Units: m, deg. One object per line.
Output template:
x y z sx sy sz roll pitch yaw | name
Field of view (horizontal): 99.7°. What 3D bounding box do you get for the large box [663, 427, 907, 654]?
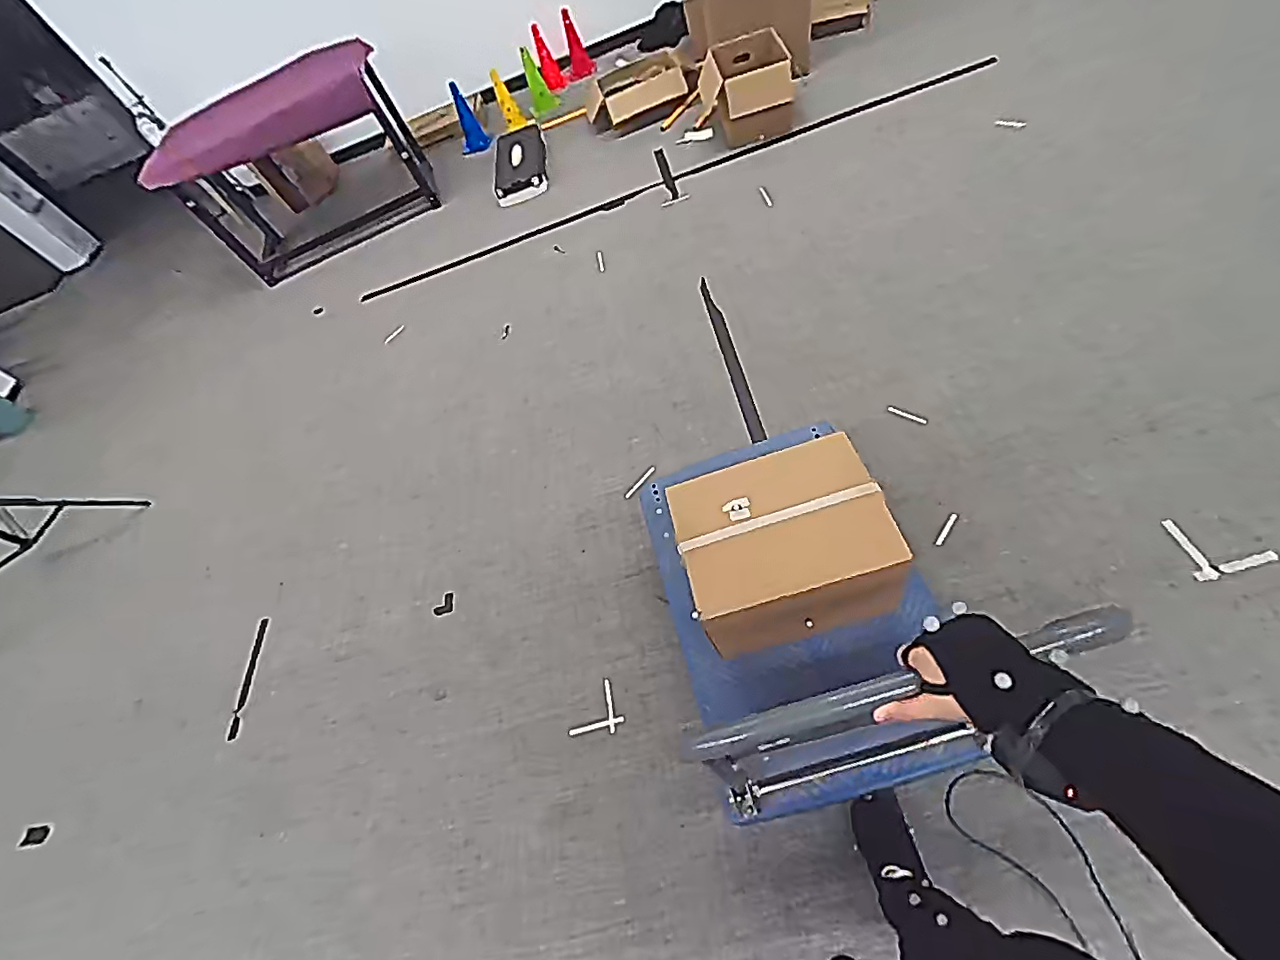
0.309 0.147 1.195 0.408 0.320 0.320 -19 54 8 | large box
